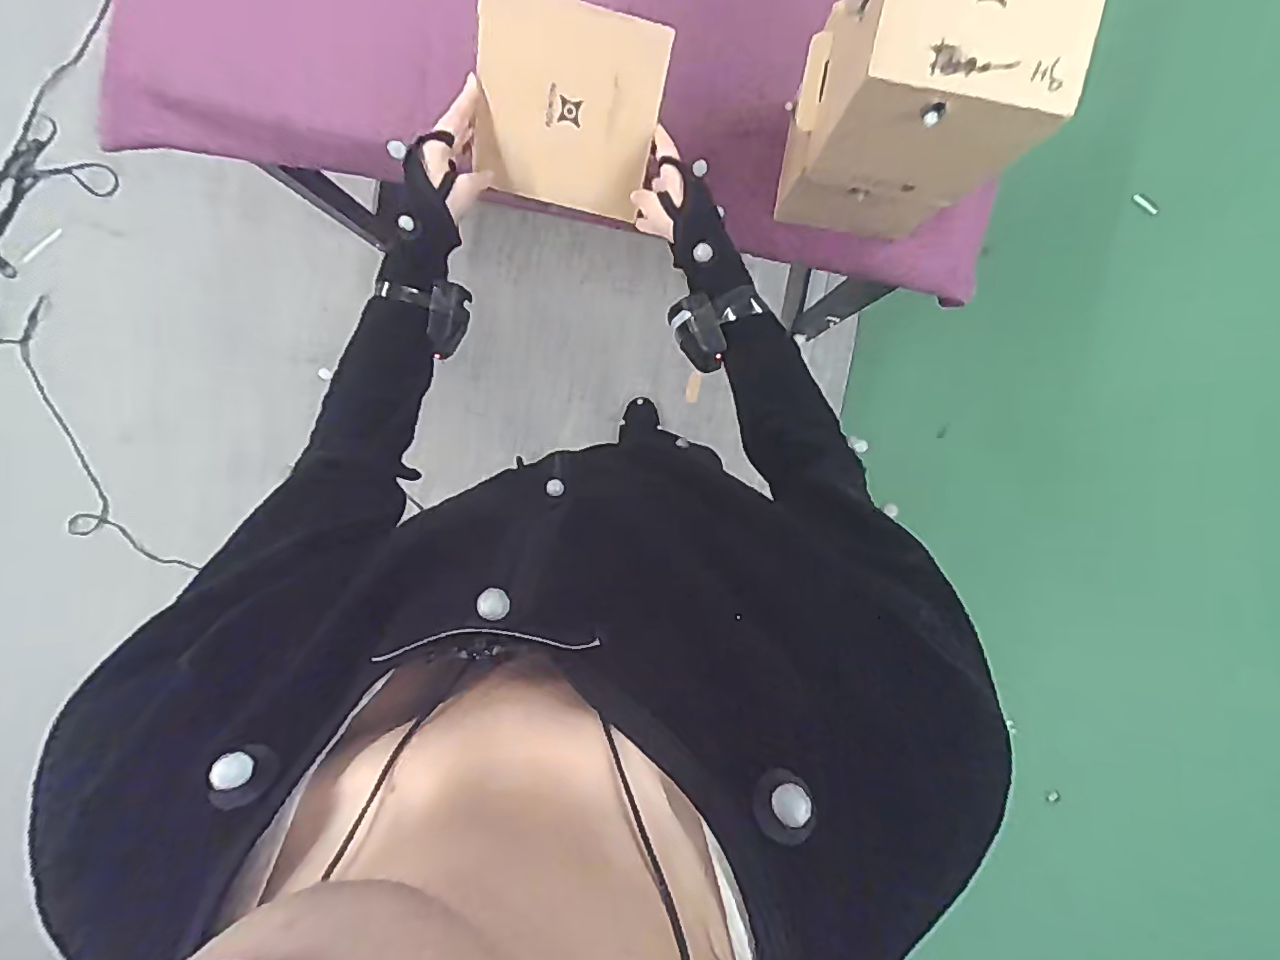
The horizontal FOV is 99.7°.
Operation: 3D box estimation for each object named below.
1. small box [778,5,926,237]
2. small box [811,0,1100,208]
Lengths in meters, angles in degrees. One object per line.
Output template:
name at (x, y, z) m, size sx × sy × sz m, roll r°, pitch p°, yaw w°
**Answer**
small box at (0.279, -0.415, 0.656) m, size 0.179 × 0.176 × 0.168 m, roll 9°, pitch 95°, yaw 0°
small box at (0.272, -0.385, 0.494) m, size 0.168 × 0.176 × 0.179 m, roll 12°, pitch 94°, yaw 1°
